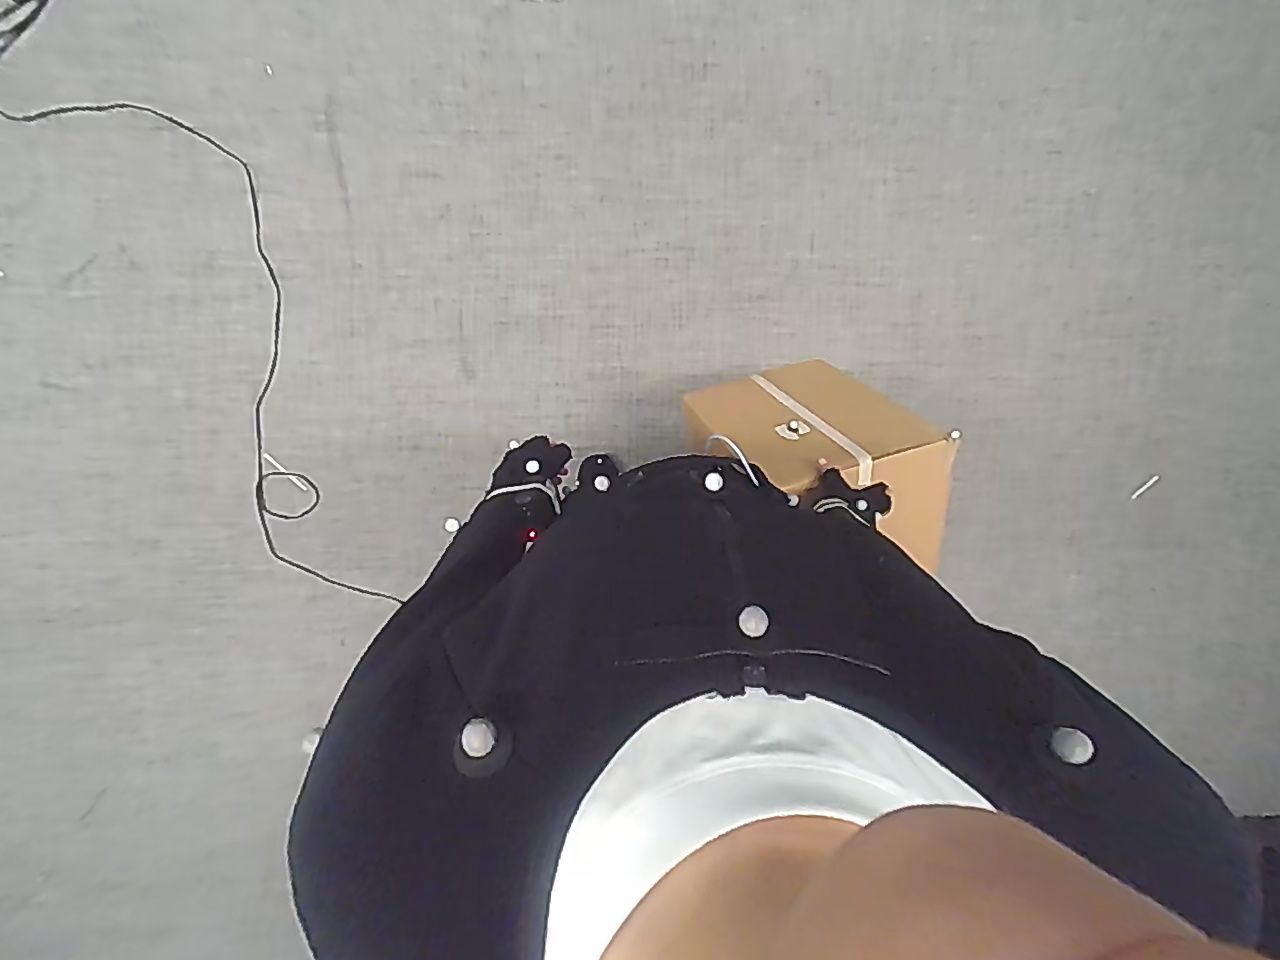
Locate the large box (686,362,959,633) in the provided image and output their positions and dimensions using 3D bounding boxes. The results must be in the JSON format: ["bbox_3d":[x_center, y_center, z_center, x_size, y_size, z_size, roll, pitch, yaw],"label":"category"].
[{"bbox_3d":[0.306,0.009,1.033,0.320,0.408,0.320,-15,123,-7],"label":"large box"}]
